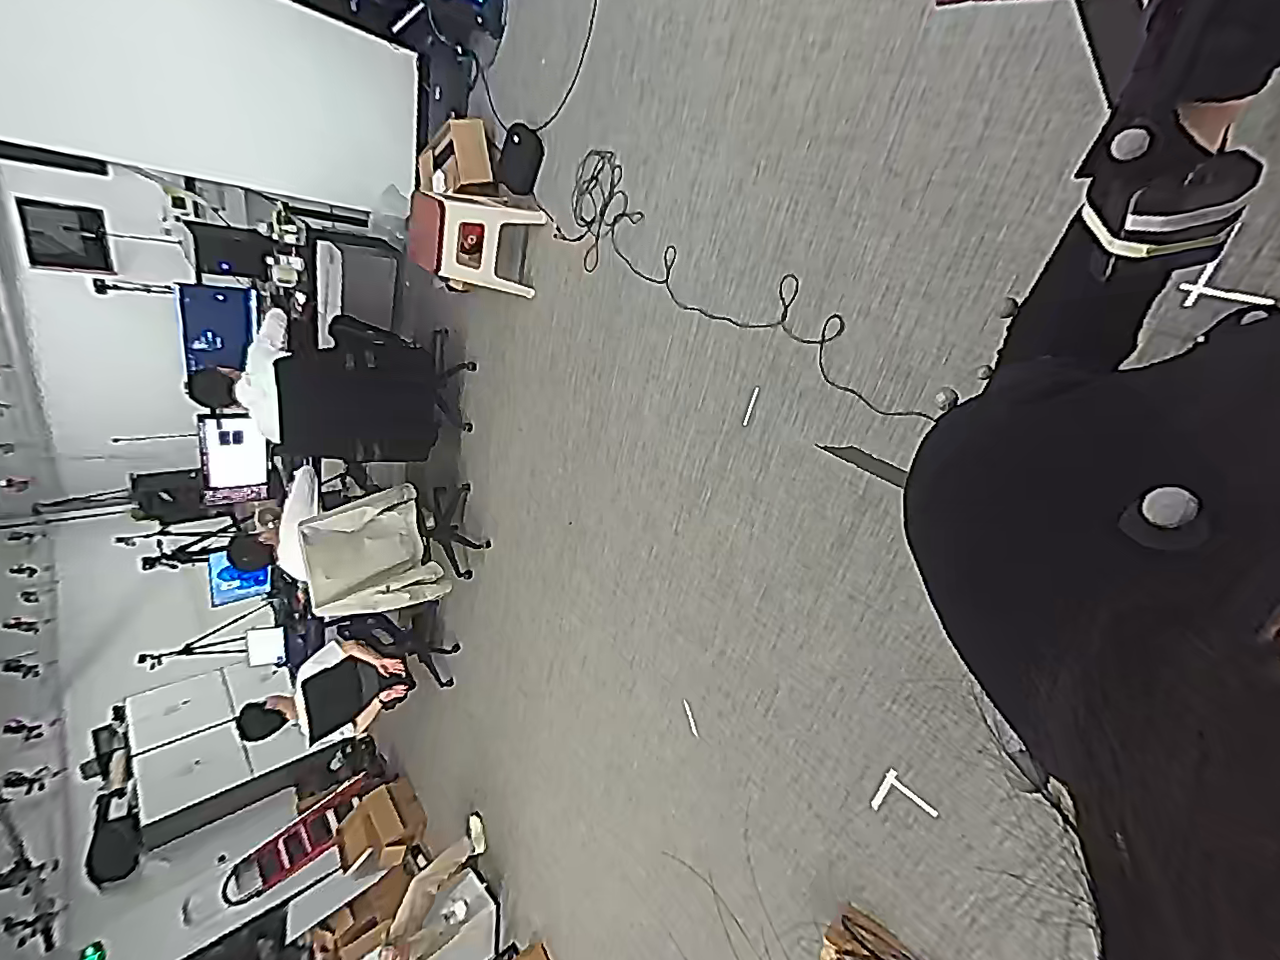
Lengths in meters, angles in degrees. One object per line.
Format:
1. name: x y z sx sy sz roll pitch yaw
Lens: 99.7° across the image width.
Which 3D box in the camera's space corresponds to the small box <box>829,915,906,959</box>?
1. small box: 0.717 1.540 1.714 0.179 0.176 0.168 12 107 44
